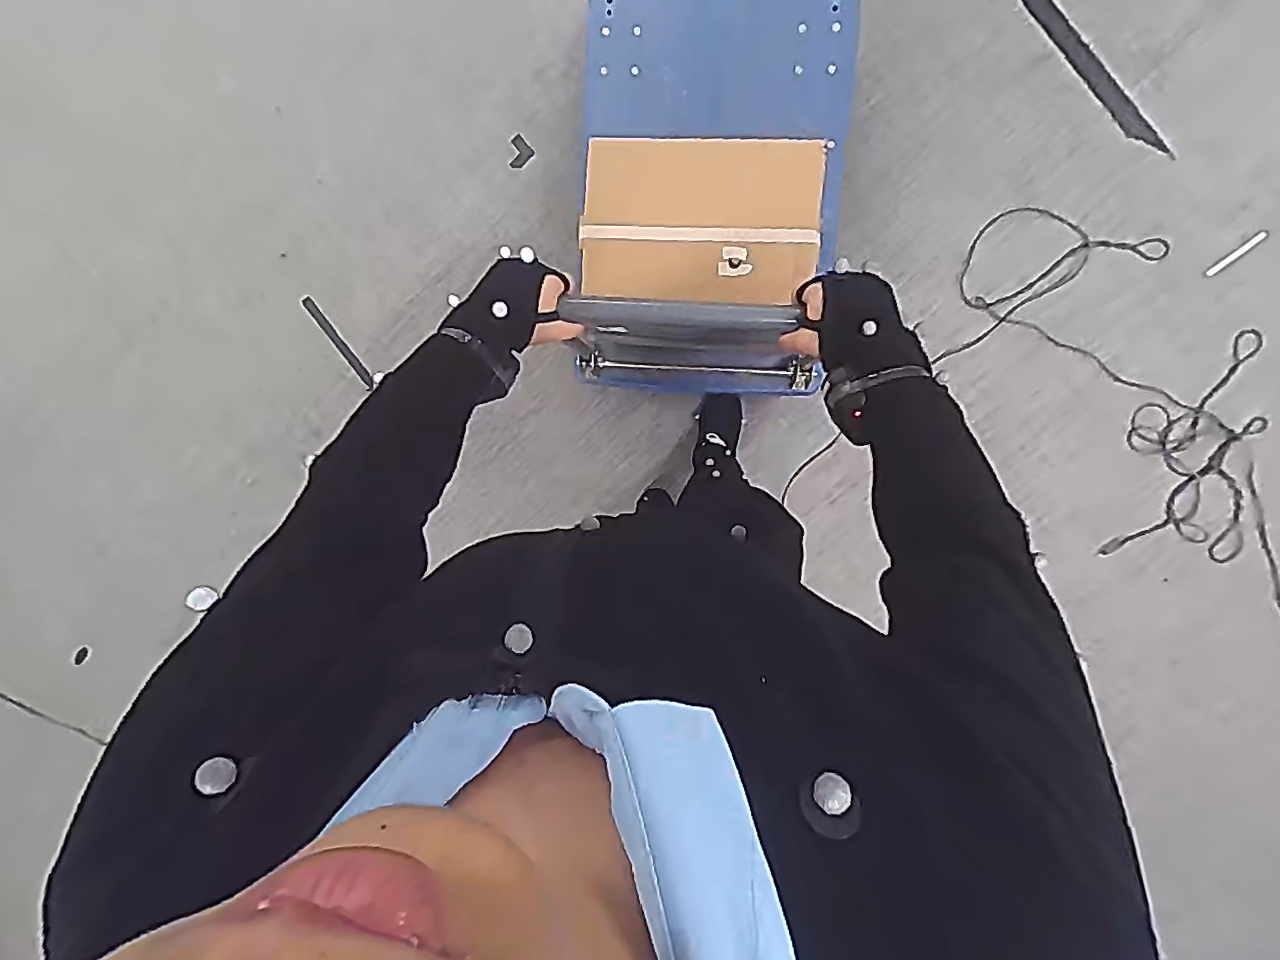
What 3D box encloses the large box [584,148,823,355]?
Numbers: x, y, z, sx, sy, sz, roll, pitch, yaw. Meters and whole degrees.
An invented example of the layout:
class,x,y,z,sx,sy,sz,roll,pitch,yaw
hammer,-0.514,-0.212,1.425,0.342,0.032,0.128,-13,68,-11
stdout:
class,x,y,z,sx,sy,sz,roll,pitch,yaw
large box,0.115,-0.430,1.085,0.408,0.320,0.320,4,98,5
